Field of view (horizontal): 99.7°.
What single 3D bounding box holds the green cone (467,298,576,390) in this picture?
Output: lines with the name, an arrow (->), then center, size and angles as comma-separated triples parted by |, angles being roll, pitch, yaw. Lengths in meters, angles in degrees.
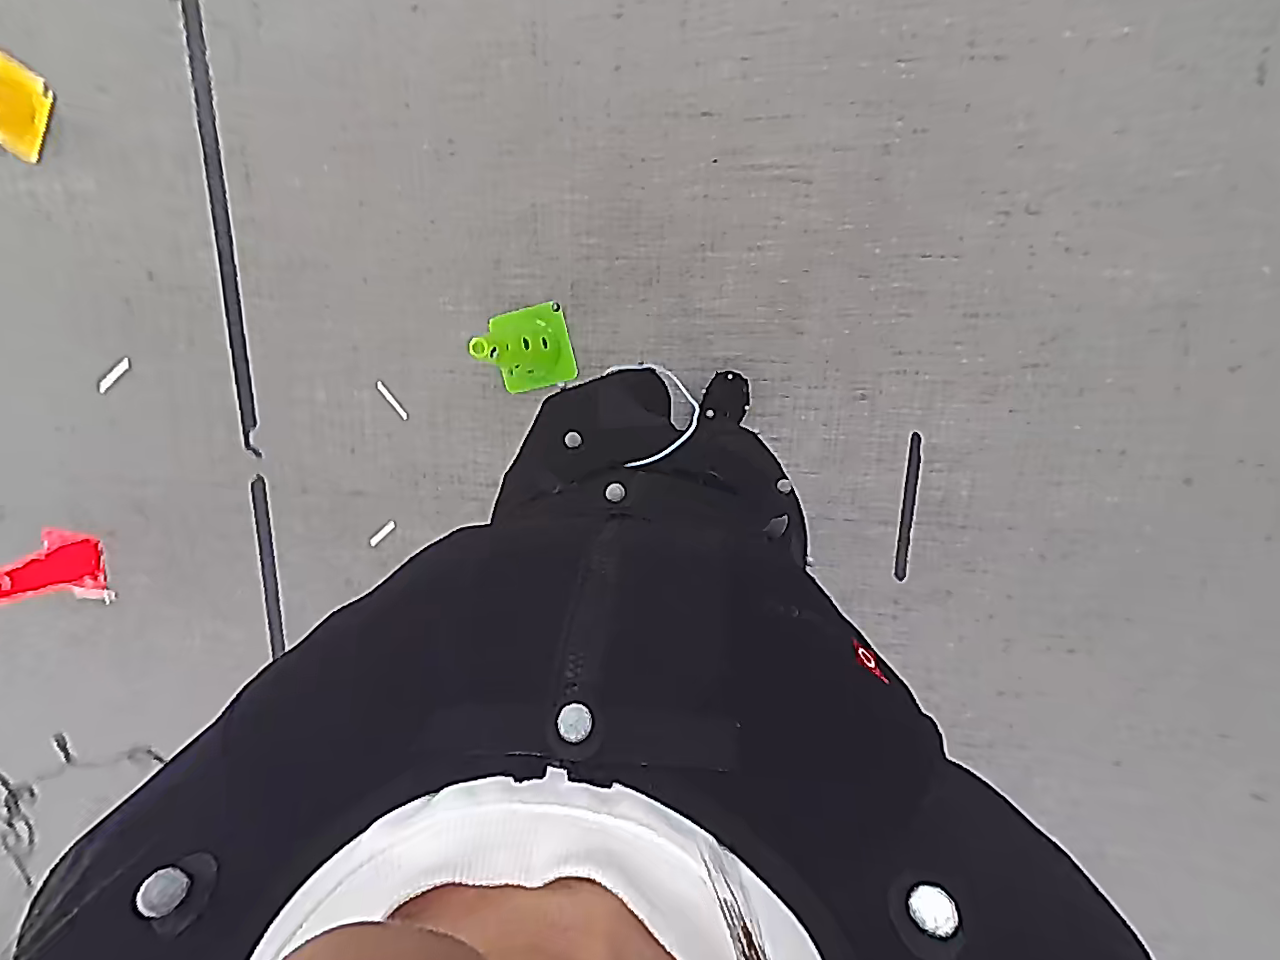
green cone -> -0.302, -0.304, 1.227 | 0.200, 0.368, 0.202 | -12, 103, 11

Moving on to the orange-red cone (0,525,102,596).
orange-red cone -> -1.846, 0.288, 1.572 | 0.198, 0.360, 0.199 | 11, 103, 4
